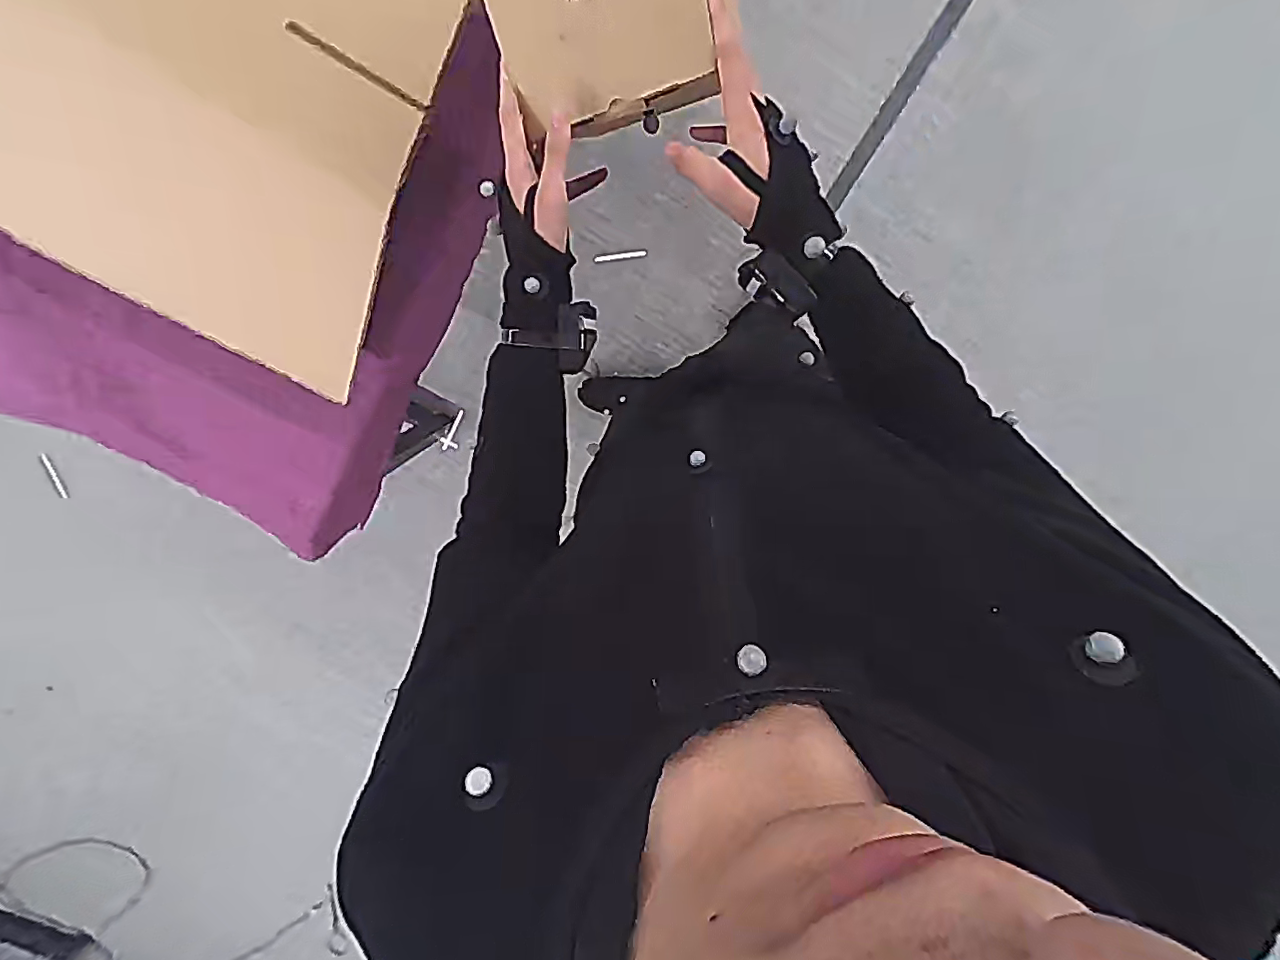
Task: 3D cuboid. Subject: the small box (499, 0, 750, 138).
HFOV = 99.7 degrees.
[{"bbox_3d":[-0.008,-0.413,0.451,0.168,0.176,0.179,-4,122,22],"label":"small box"}]
